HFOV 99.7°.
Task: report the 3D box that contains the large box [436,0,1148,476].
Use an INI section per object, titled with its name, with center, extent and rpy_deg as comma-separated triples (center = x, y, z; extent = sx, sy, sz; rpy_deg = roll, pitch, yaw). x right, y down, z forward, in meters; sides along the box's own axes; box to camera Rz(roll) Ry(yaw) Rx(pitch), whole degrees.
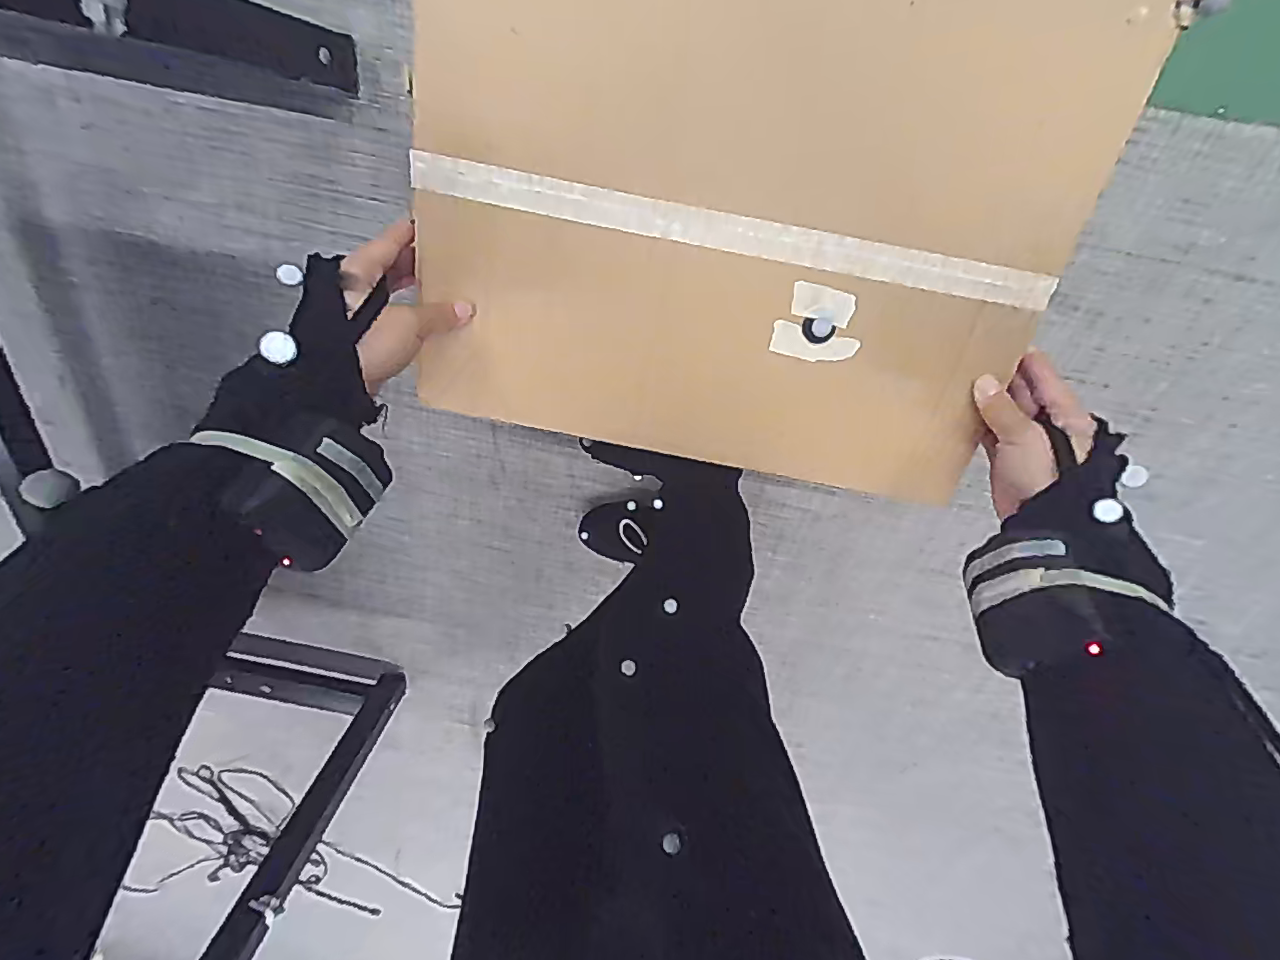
[large box]
center = 0.070, -0.230, 0.489
extent = 0.408, 0.320, 0.320
rpy_deg = 10, 116, -2
